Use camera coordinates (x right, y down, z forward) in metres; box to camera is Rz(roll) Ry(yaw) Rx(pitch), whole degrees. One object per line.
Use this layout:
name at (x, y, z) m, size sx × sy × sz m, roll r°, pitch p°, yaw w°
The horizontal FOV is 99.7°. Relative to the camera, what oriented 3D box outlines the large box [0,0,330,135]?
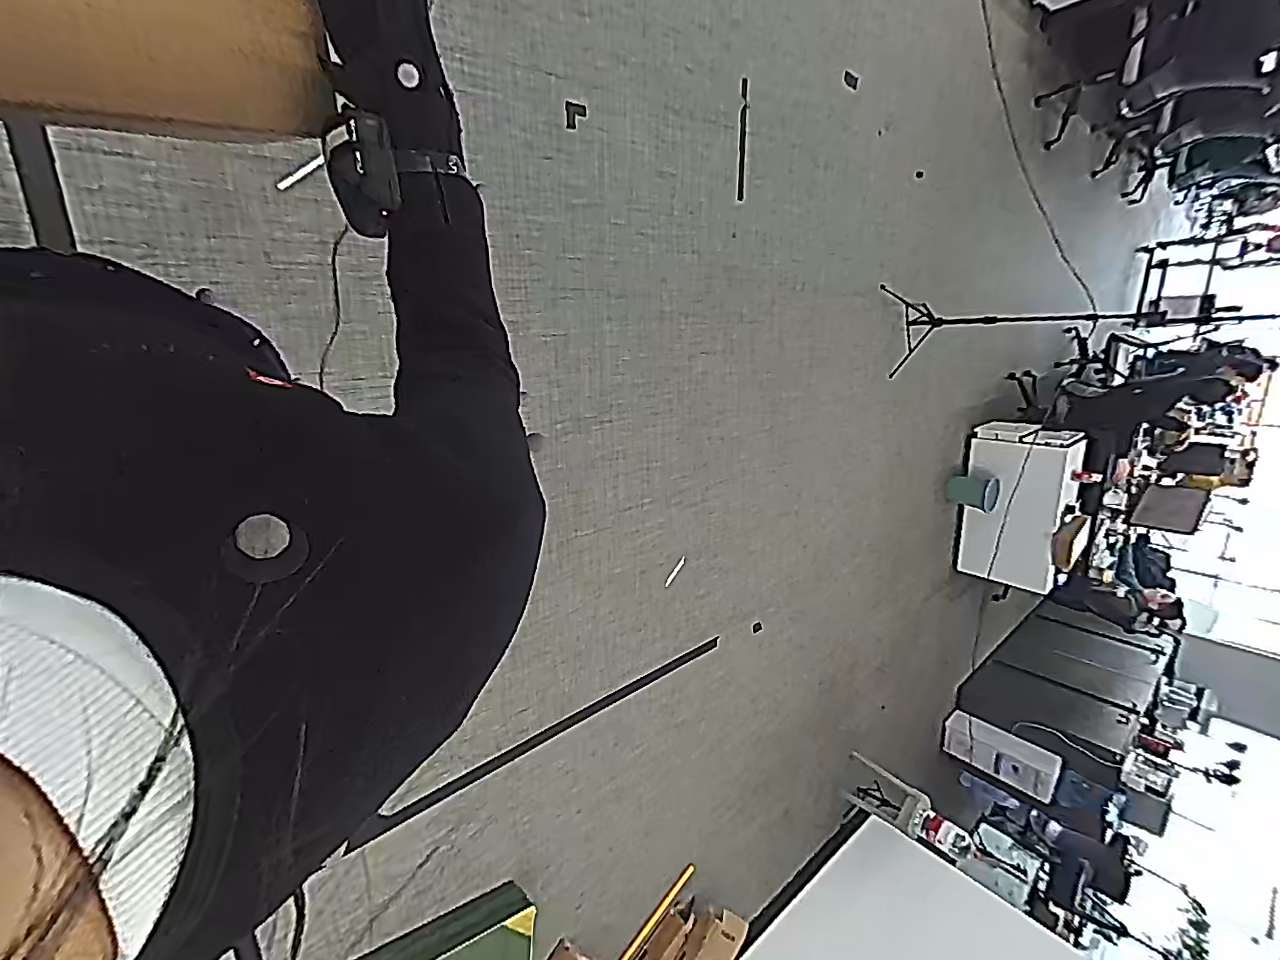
large box at (-0.458, -0.391, 0.295) m, size 0.408 × 0.320 × 0.320 m, roll -19°, pitch 126°, yaw -36°
